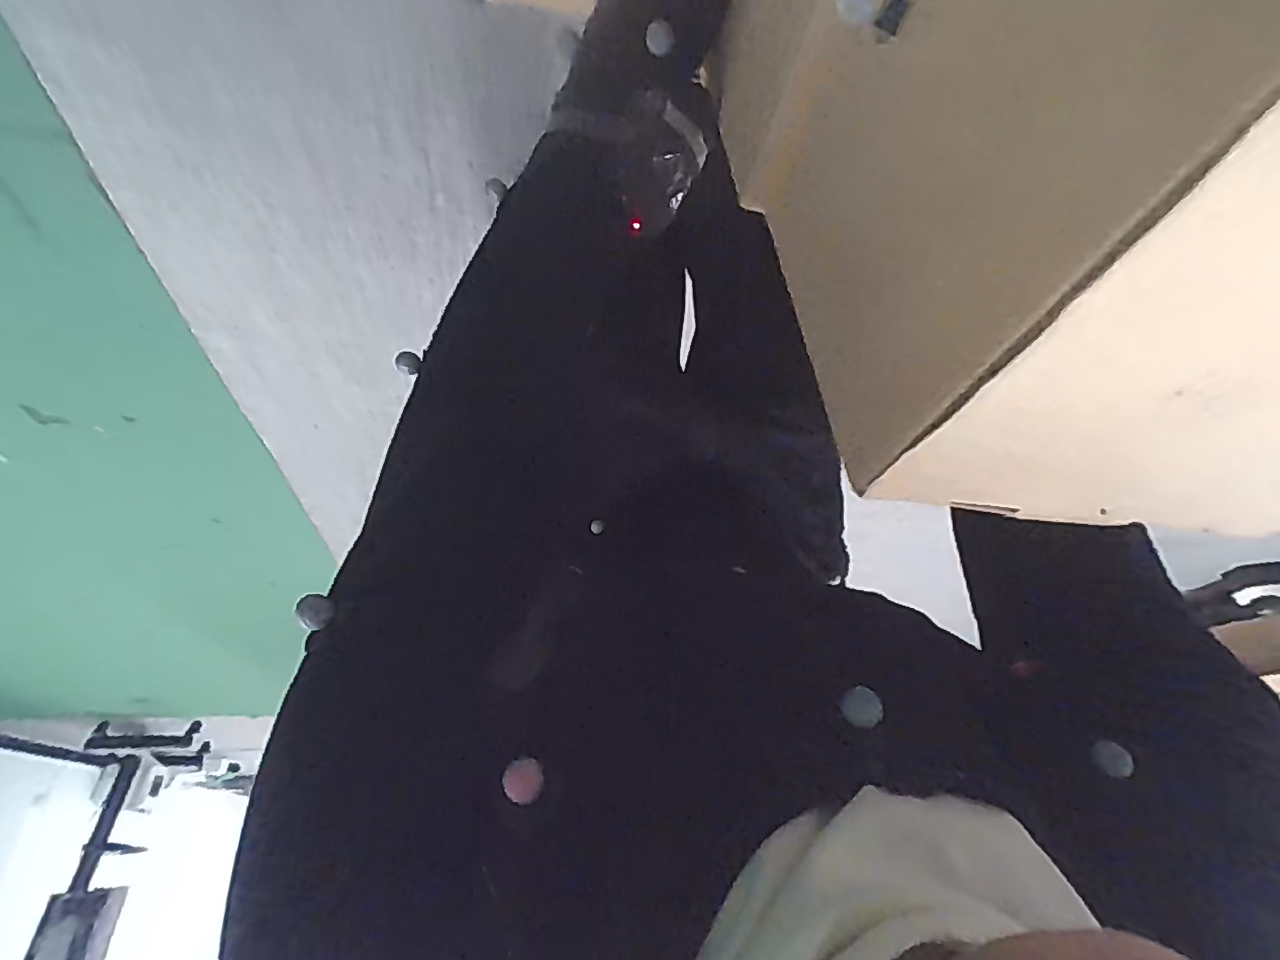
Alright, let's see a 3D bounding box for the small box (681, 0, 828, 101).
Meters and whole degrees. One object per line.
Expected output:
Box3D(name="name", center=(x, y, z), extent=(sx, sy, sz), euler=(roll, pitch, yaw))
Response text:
Box3D(name="small box", center=(0.129, -0.371, 0.349), extent=(0.179, 0.176, 0.168), euler=(2, 148, -11))
